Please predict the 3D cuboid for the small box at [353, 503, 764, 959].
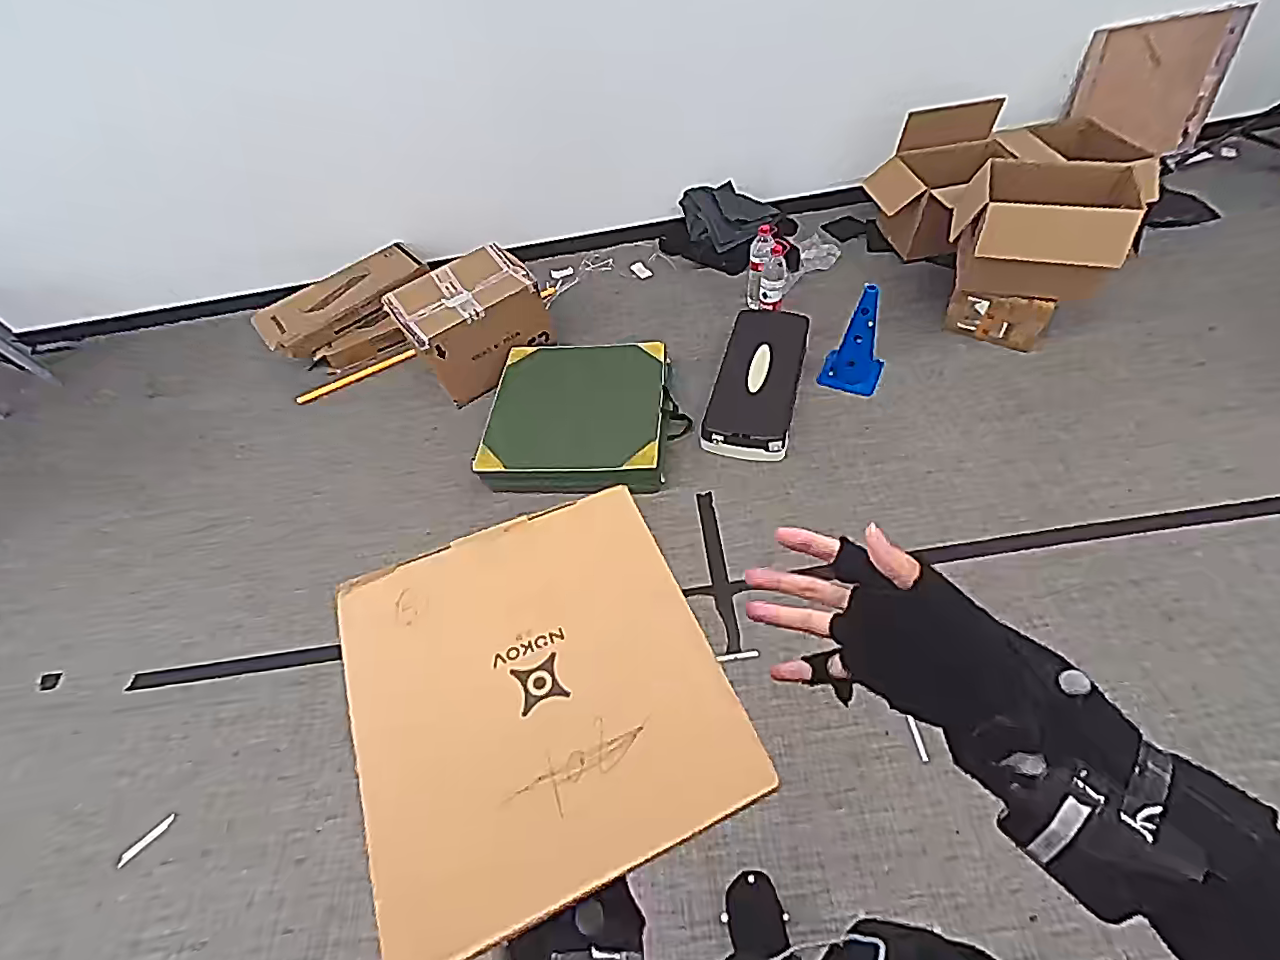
[{"bbox_3d":[-0.053,0.149,0.335,0.168,0.176,0.179,-19,56,-15],"label":"small box"}]
